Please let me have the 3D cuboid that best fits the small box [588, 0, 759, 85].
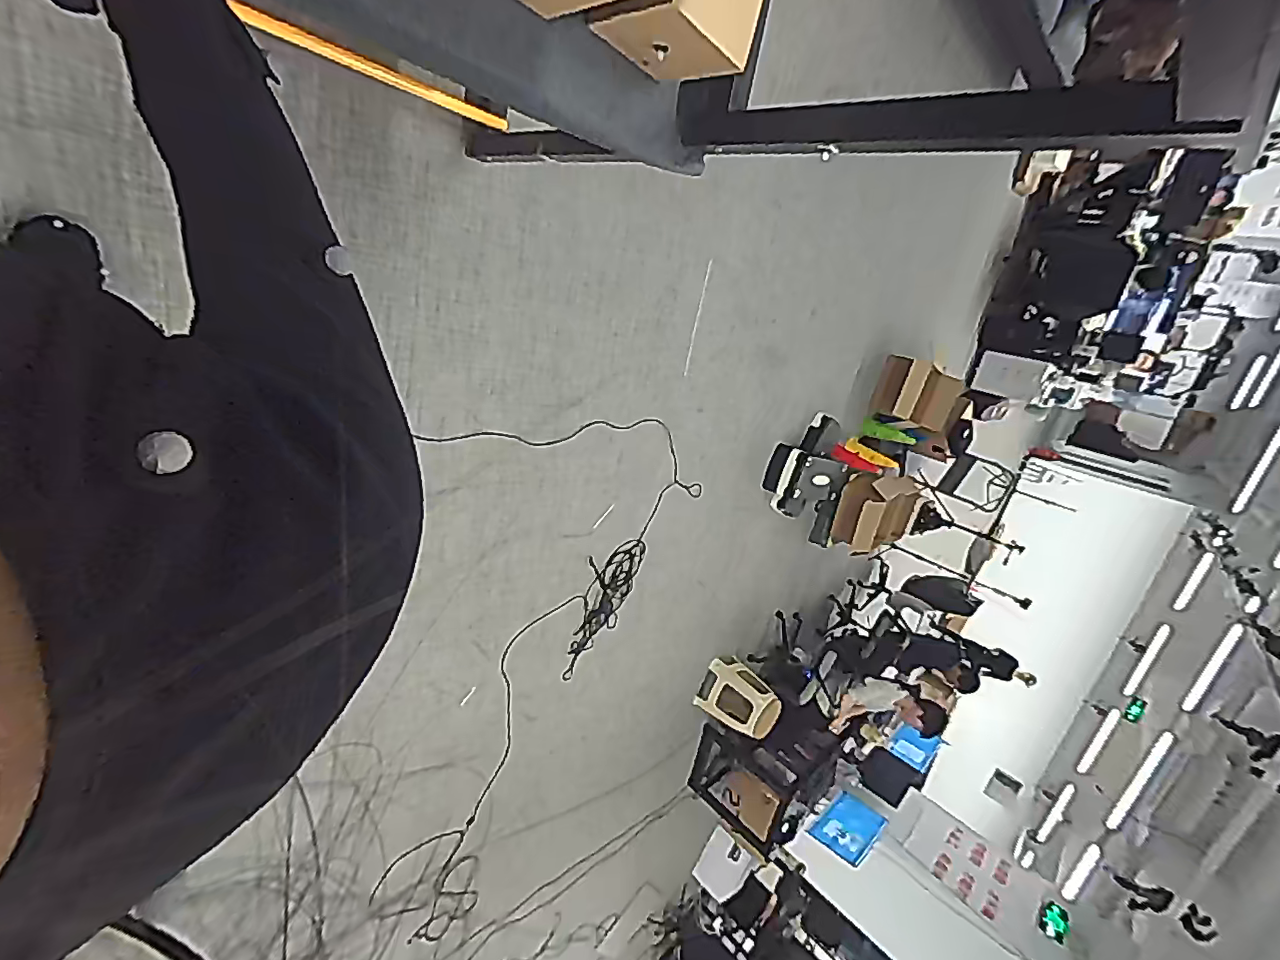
[{"bbox_3d":[0.050,-0.685,0.749,0.168,0.176,0.179,-3,112,-48],"label":"small box"}]
